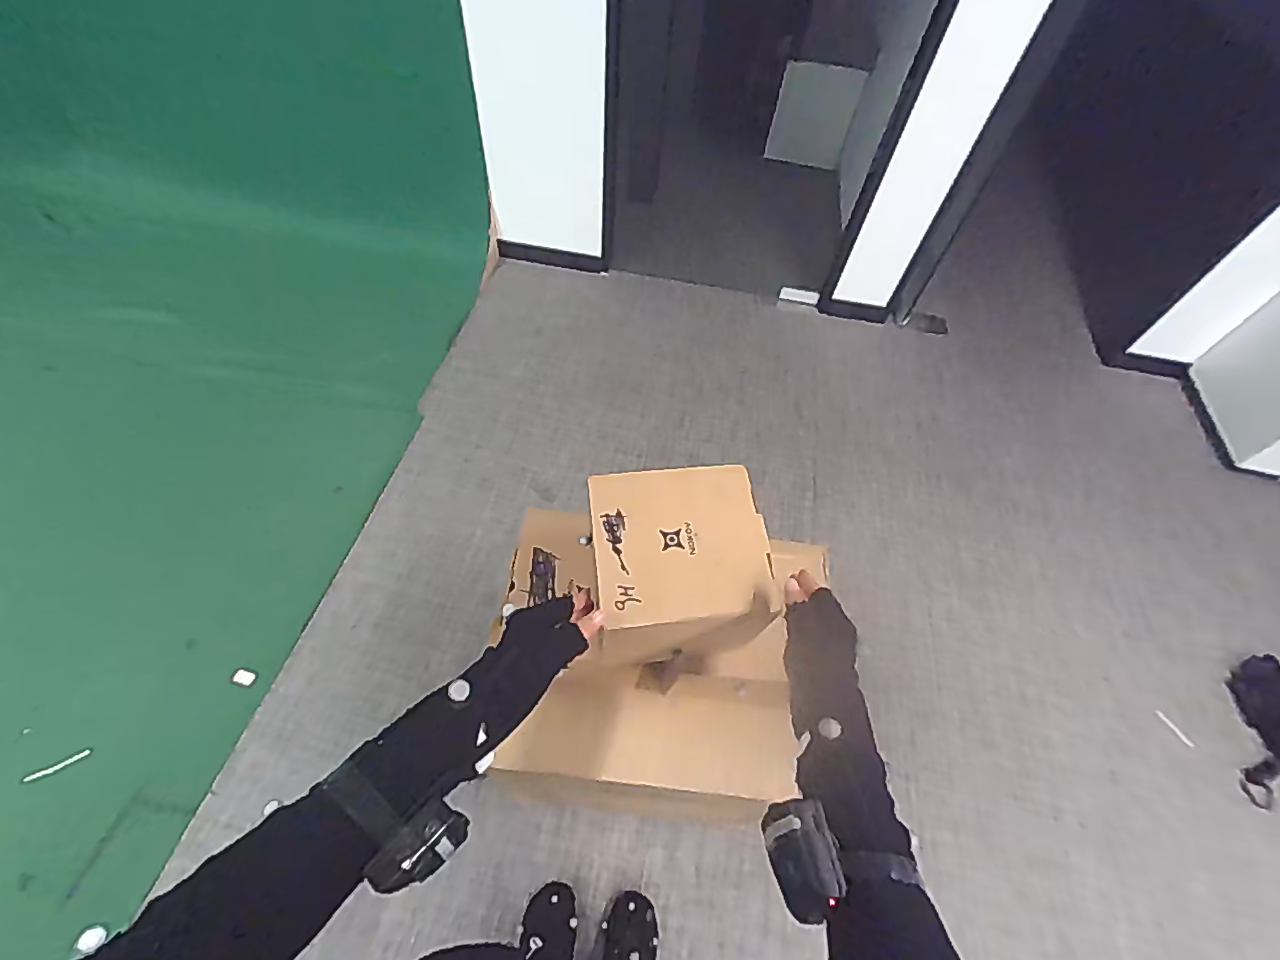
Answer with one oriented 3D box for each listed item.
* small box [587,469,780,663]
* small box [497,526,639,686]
[{"bbox_3d":[0.034,0.102,0.615,0.179,0.176,0.168,-3,60,-9],"label":"small box"},{"bbox_3d":[-0.083,0.181,0.748,0.179,0.176,0.168,7,59,-2],"label":"small box"}]
